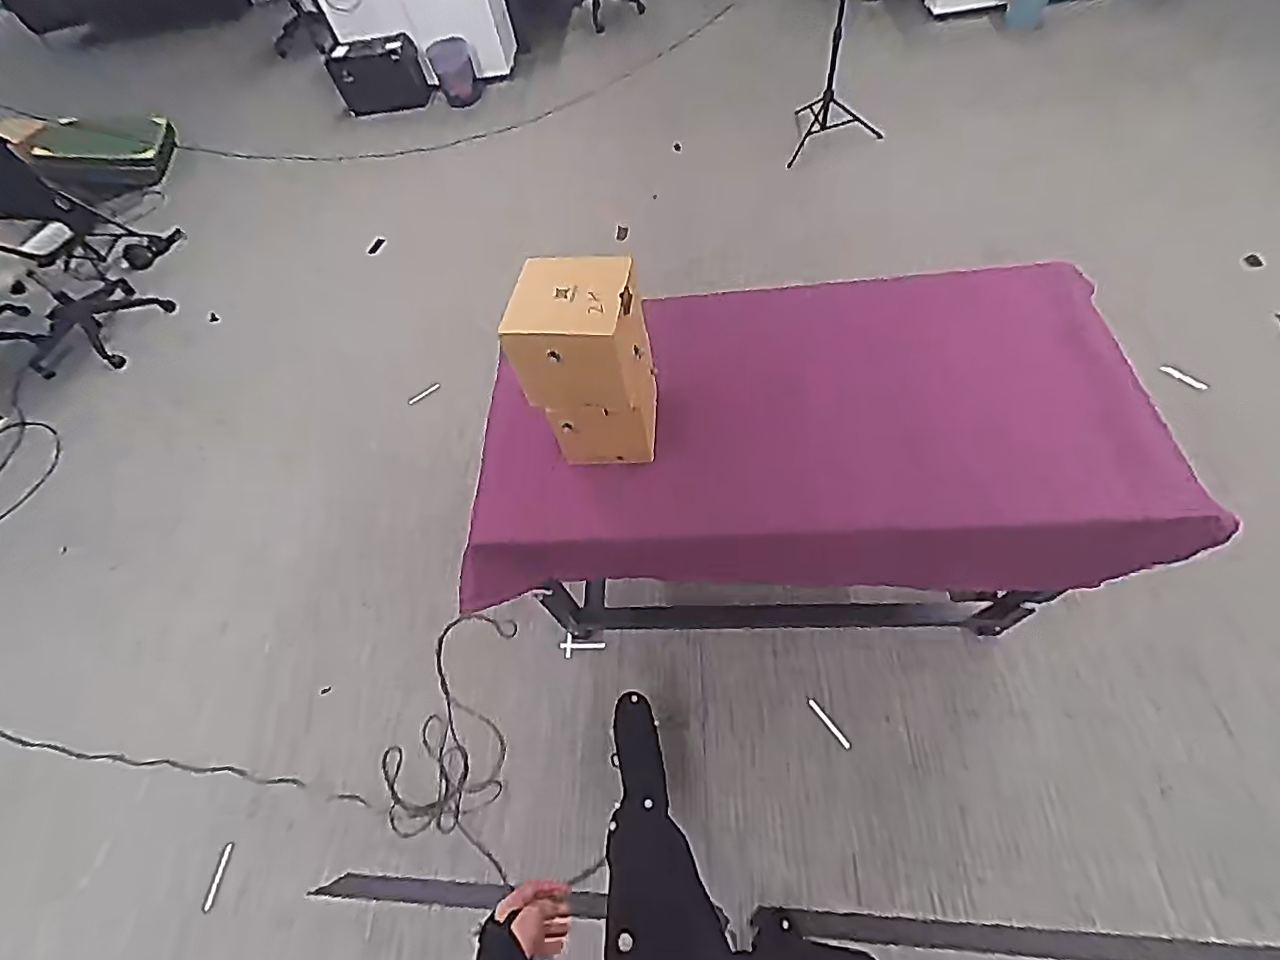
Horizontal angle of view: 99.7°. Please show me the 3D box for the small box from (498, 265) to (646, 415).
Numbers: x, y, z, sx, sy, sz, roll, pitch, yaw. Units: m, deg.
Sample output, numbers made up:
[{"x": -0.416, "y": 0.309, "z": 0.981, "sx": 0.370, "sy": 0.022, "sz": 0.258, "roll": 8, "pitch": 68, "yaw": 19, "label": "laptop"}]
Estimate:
[{"x": -0.097, "y": -0.220, "z": 0.864, "sx": 0.179, "sy": 0.176, "sz": 0.168, "roll": 4, "pitch": 60, "yaw": 11, "label": "small box"}]
